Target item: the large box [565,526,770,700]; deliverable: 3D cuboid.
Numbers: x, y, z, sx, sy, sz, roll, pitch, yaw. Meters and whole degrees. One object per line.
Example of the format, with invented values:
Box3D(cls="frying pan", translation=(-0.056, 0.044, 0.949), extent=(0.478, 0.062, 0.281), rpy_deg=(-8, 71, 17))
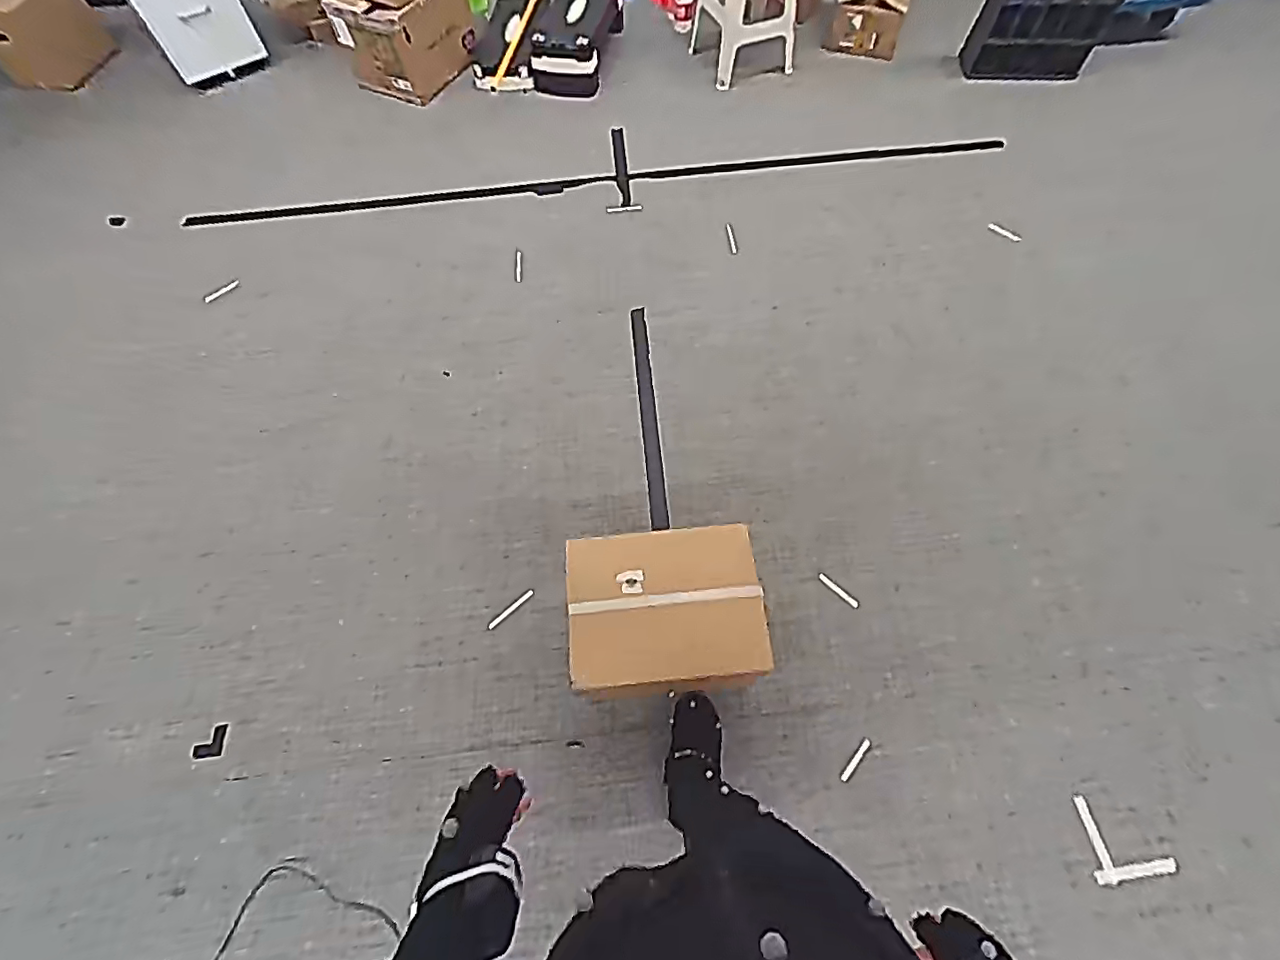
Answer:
Box3D(cls="large box", translation=(0.053, 0.323, 1.264), extent=(0.408, 0.320, 0.320), rpy_deg=(-6, 63, -1))
